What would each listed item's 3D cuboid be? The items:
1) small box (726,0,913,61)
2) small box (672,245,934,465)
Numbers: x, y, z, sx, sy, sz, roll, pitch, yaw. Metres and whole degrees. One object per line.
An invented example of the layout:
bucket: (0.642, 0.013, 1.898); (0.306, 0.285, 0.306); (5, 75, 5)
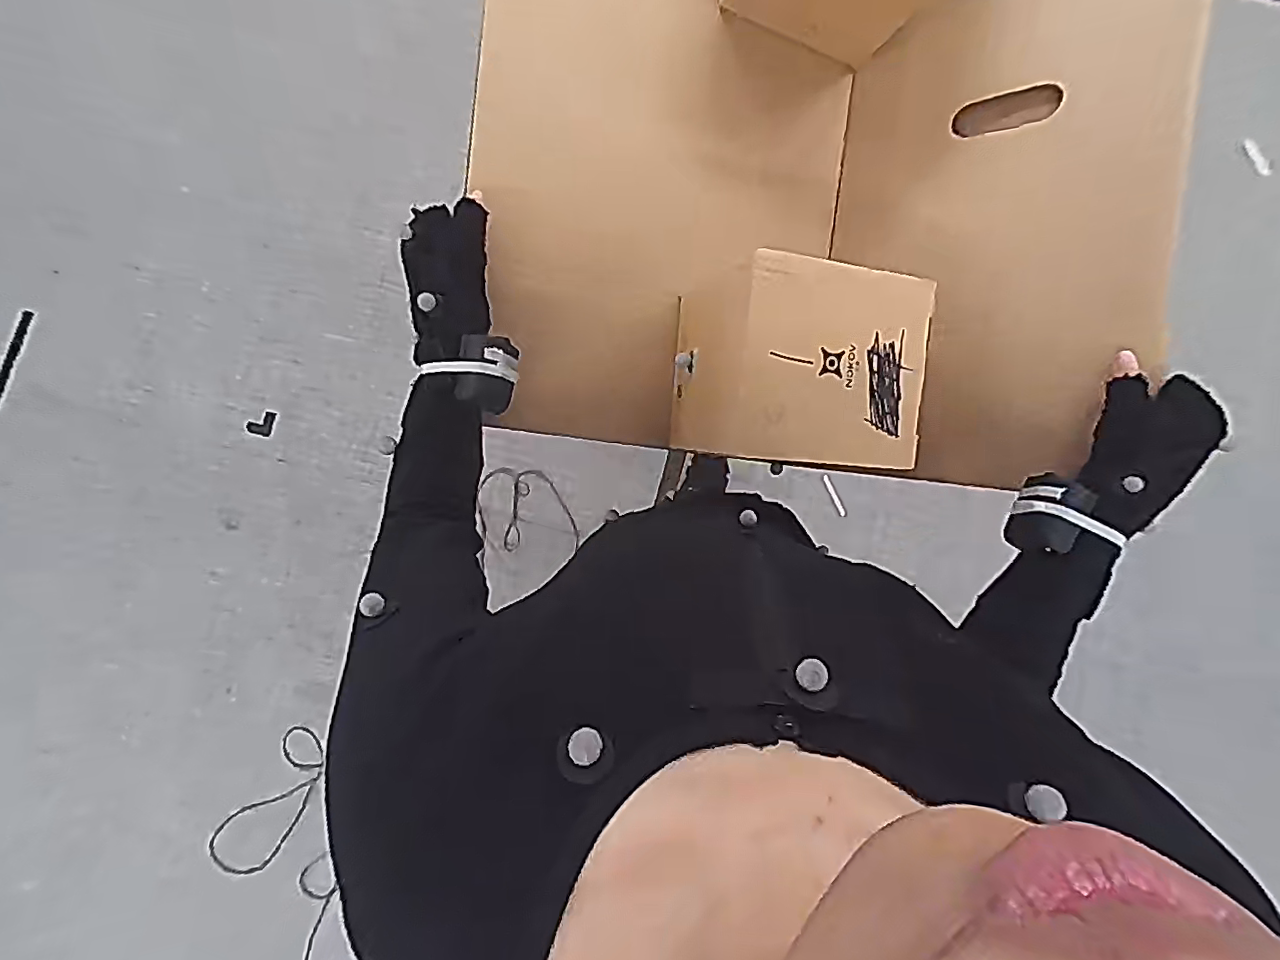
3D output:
small box: (0.198, -0.551, 0.509); (0.179, 0.176, 0.168); (10, 92, -17)
small box: (0.145, -0.107, 0.529); (0.179, 0.176, 0.168); (3, 94, -15)
